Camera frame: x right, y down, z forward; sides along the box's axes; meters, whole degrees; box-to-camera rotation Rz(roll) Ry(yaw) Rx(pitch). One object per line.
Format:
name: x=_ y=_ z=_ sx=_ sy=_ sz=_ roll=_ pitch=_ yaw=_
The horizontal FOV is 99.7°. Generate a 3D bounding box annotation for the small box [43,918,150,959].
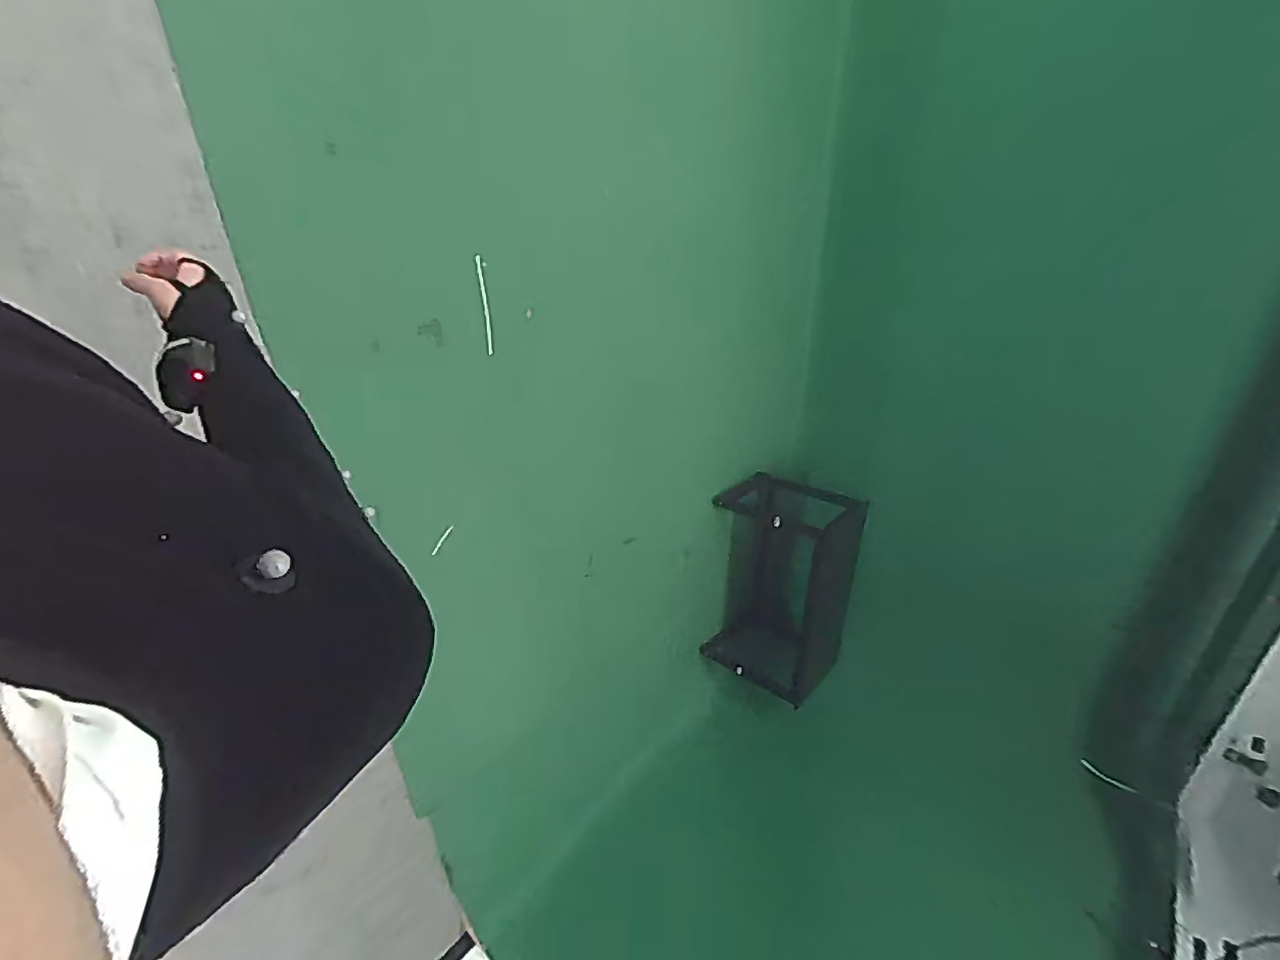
small box: x=-1.112 y=1.039 z=1.084 sx=0.168 sy=0.176 sz=0.179 roll=-31 pitch=129 yaw=-41

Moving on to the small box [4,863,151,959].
small box: x=-1.230 y=0.992 z=1.183 sx=0.168 sy=0.176 sz=0.179 roll=-31 pitch=129 yaw=-40
